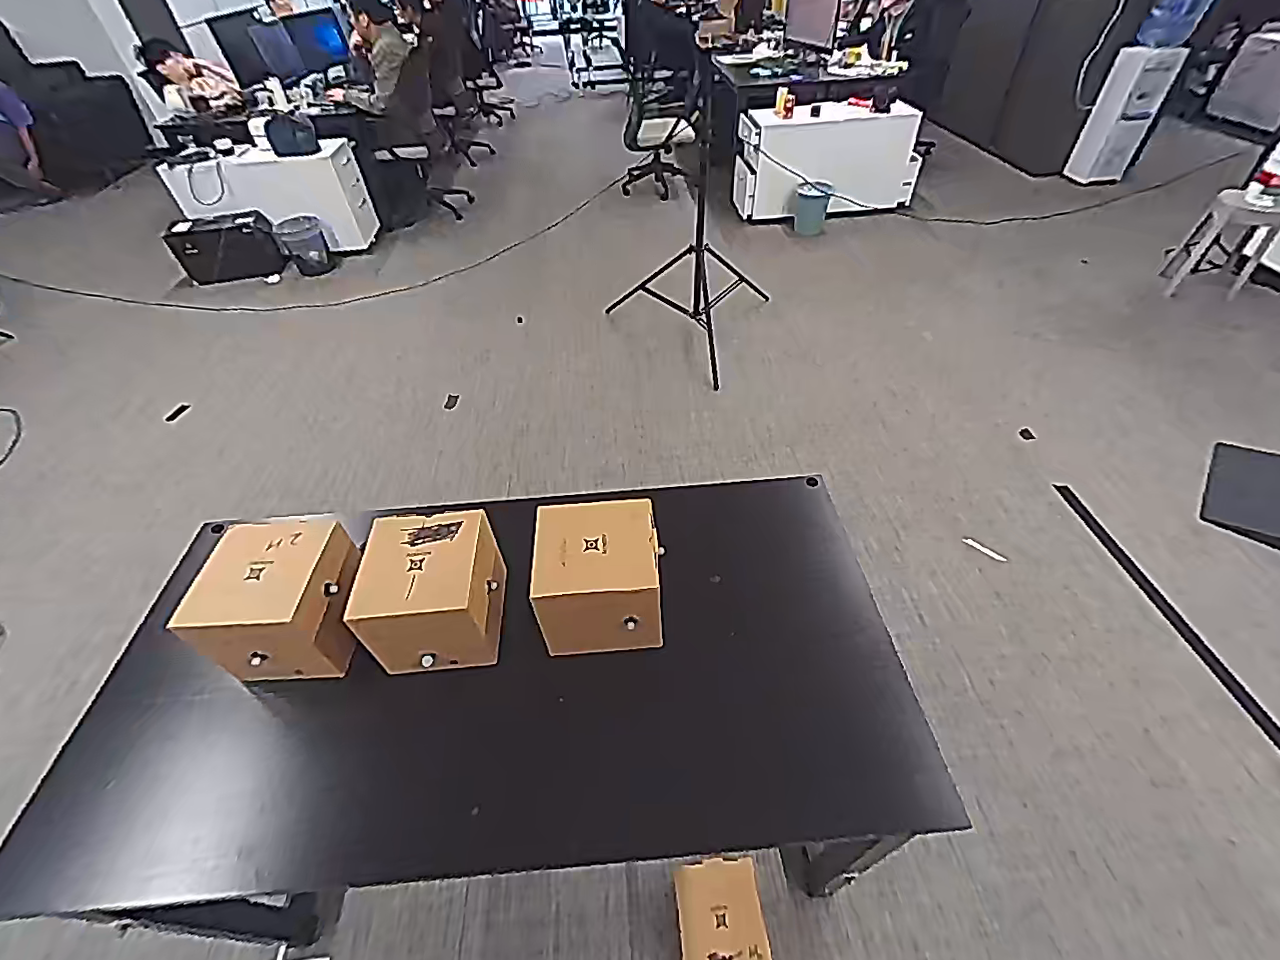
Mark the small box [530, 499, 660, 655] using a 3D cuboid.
[{"bbox_3d":[-0.062,0.150,0.831,0.179,0.176,0.168,-6,44,0],"label":"small box"}]

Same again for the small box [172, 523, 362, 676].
[{"bbox_3d":[-0.534,0.186,0.823,0.168,0.176,0.179,-2,45,0],"label":"small box"}]

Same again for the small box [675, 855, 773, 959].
[{"bbox_3d":[0.162,0.896,1.104,0.168,0.176,0.179,-6,45,-1],"label":"small box"}]

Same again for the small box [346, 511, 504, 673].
[{"bbox_3d":[-0.309,0.171,0.824,0.168,0.176,0.179,-5,47,-2],"label":"small box"}]
